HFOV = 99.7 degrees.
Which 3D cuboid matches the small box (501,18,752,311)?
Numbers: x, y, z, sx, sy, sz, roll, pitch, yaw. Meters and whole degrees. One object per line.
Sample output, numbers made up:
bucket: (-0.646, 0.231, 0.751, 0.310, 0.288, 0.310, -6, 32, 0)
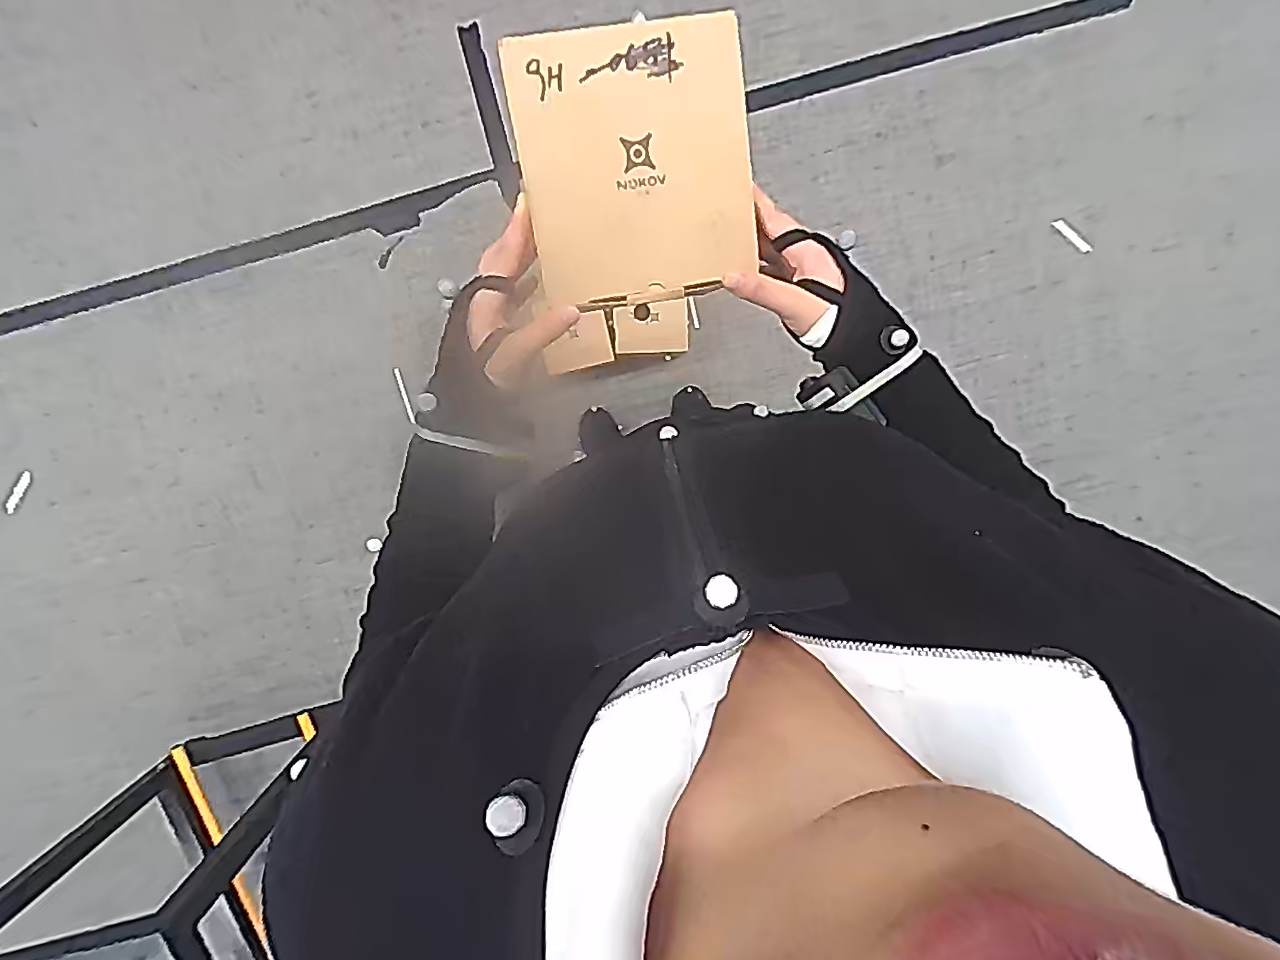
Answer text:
small box: (-0.012, -0.248, 0.469, 0.168, 0.176, 0.179, -10, 107, -4)
